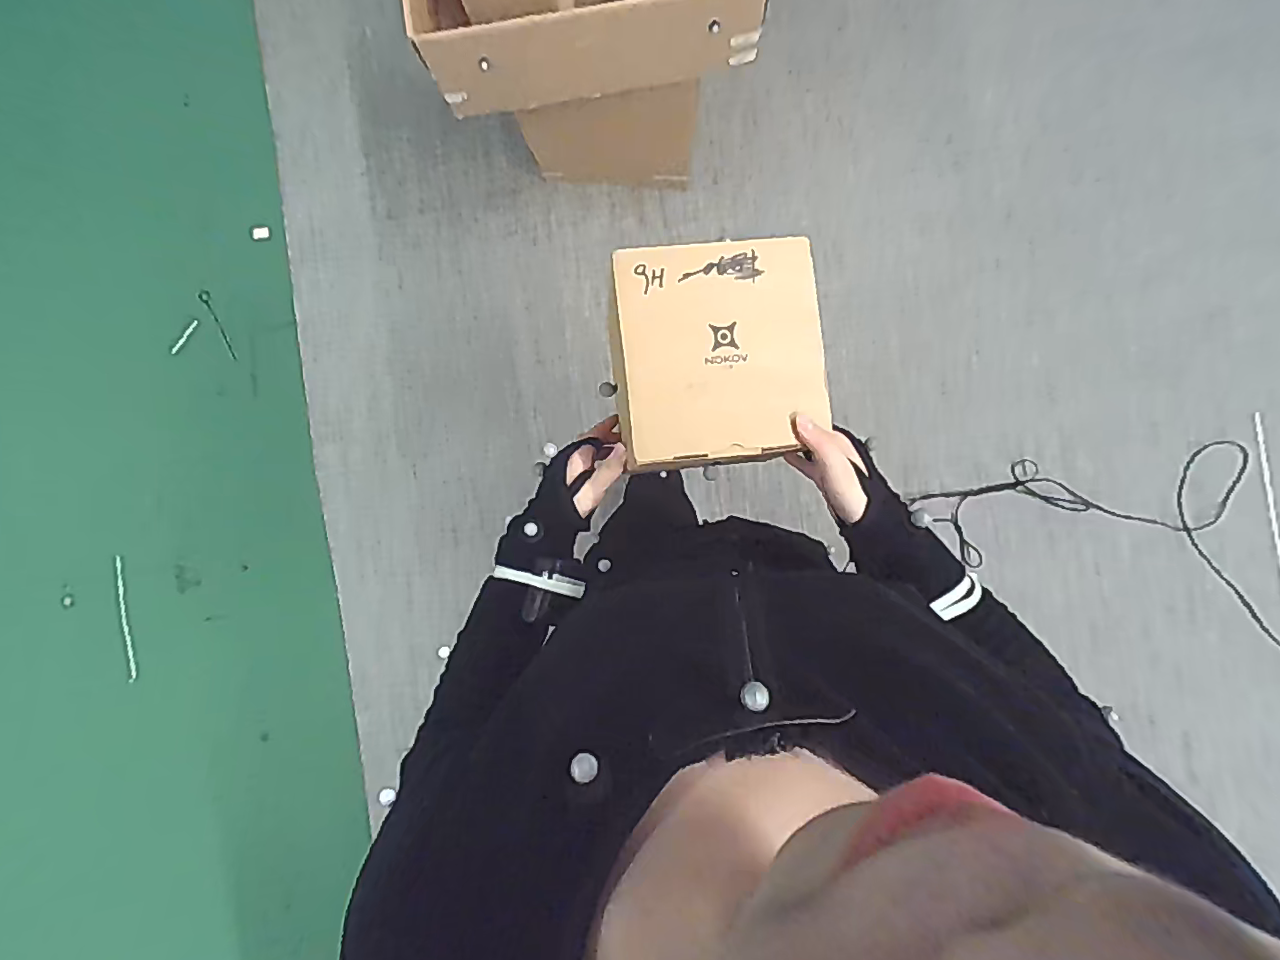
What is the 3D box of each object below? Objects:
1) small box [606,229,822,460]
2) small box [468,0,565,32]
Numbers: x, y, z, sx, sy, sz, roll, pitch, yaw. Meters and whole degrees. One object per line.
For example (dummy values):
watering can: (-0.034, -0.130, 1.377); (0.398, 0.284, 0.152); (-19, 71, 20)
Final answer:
small box: (0.057, -0.112, 0.518); (0.168, 0.176, 0.179); (-6, 89, -4)
small box: (-0.235, -0.937, 0.950); (0.168, 0.176, 0.179); (-8, 89, 4)
